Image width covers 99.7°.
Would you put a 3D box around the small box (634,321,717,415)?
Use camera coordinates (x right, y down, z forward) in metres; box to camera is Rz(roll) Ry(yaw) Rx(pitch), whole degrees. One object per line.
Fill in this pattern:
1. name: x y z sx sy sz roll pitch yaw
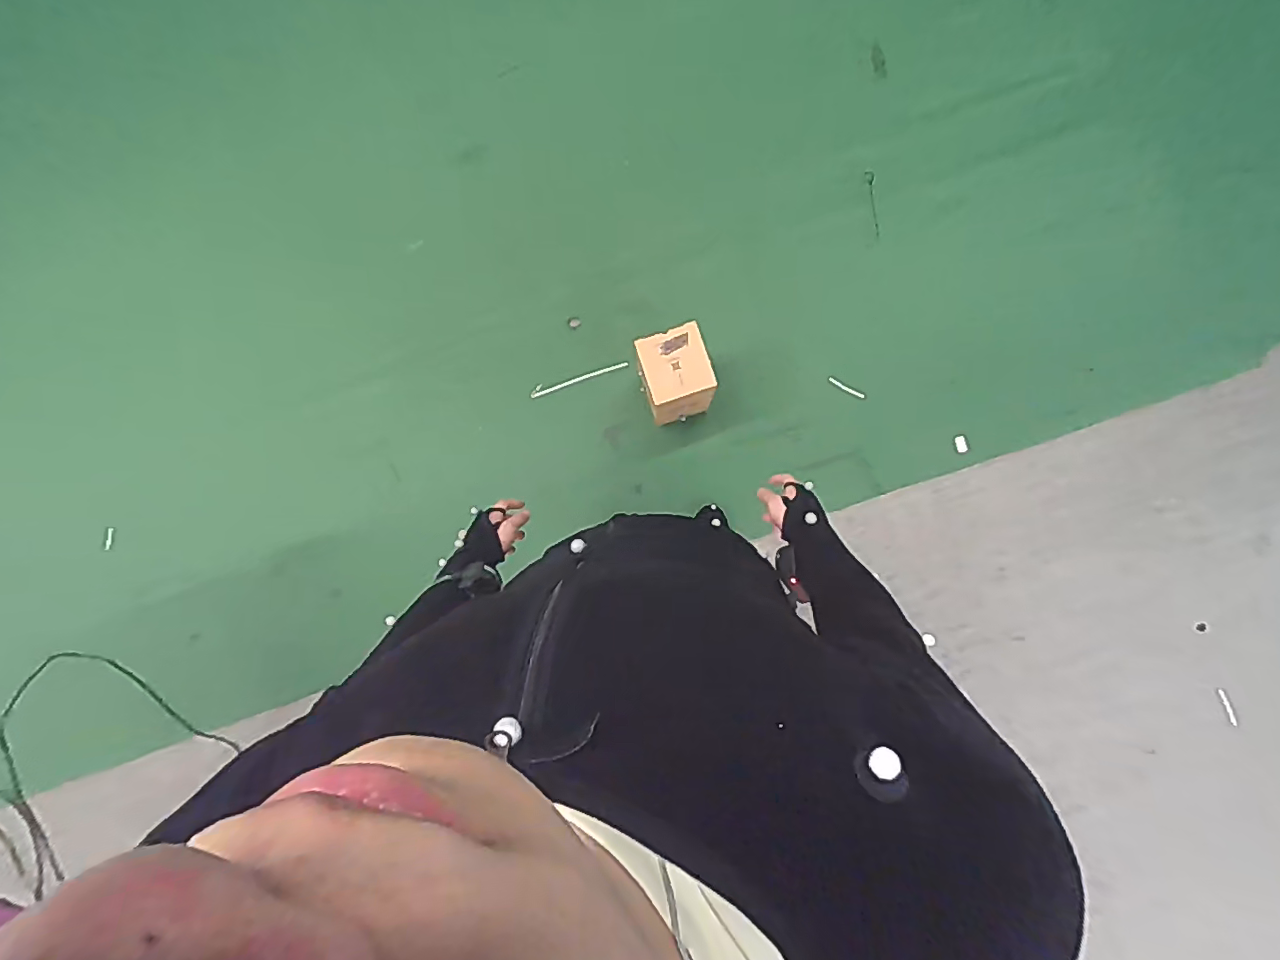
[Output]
1. small box: 0.089 -0.286 1.418 0.168 0.176 0.179 -19 87 1

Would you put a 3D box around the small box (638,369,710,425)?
1. small box: 0.093 -0.276 1.582 0.168 0.176 0.179 -18 87 1
